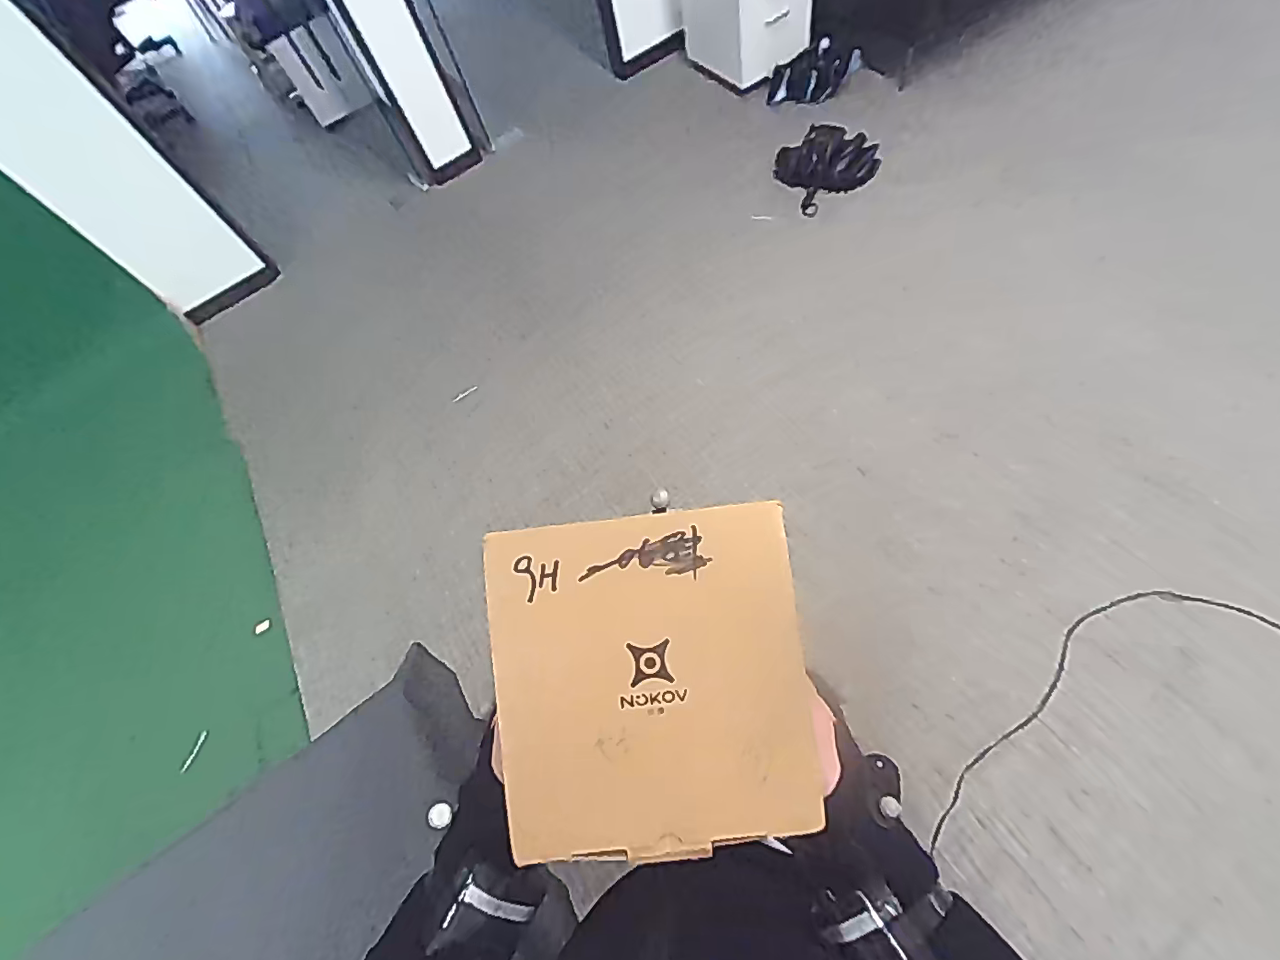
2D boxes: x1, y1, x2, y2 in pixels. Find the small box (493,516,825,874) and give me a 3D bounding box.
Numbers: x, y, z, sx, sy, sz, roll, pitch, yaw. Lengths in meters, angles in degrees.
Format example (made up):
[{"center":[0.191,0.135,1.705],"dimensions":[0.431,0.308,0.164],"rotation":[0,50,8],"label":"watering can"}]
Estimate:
[{"center":[0.010,0.119,0.368],"dimensions":[0.168,0.176,0.179],"rotation":[-6,86,0],"label":"small box"}]
